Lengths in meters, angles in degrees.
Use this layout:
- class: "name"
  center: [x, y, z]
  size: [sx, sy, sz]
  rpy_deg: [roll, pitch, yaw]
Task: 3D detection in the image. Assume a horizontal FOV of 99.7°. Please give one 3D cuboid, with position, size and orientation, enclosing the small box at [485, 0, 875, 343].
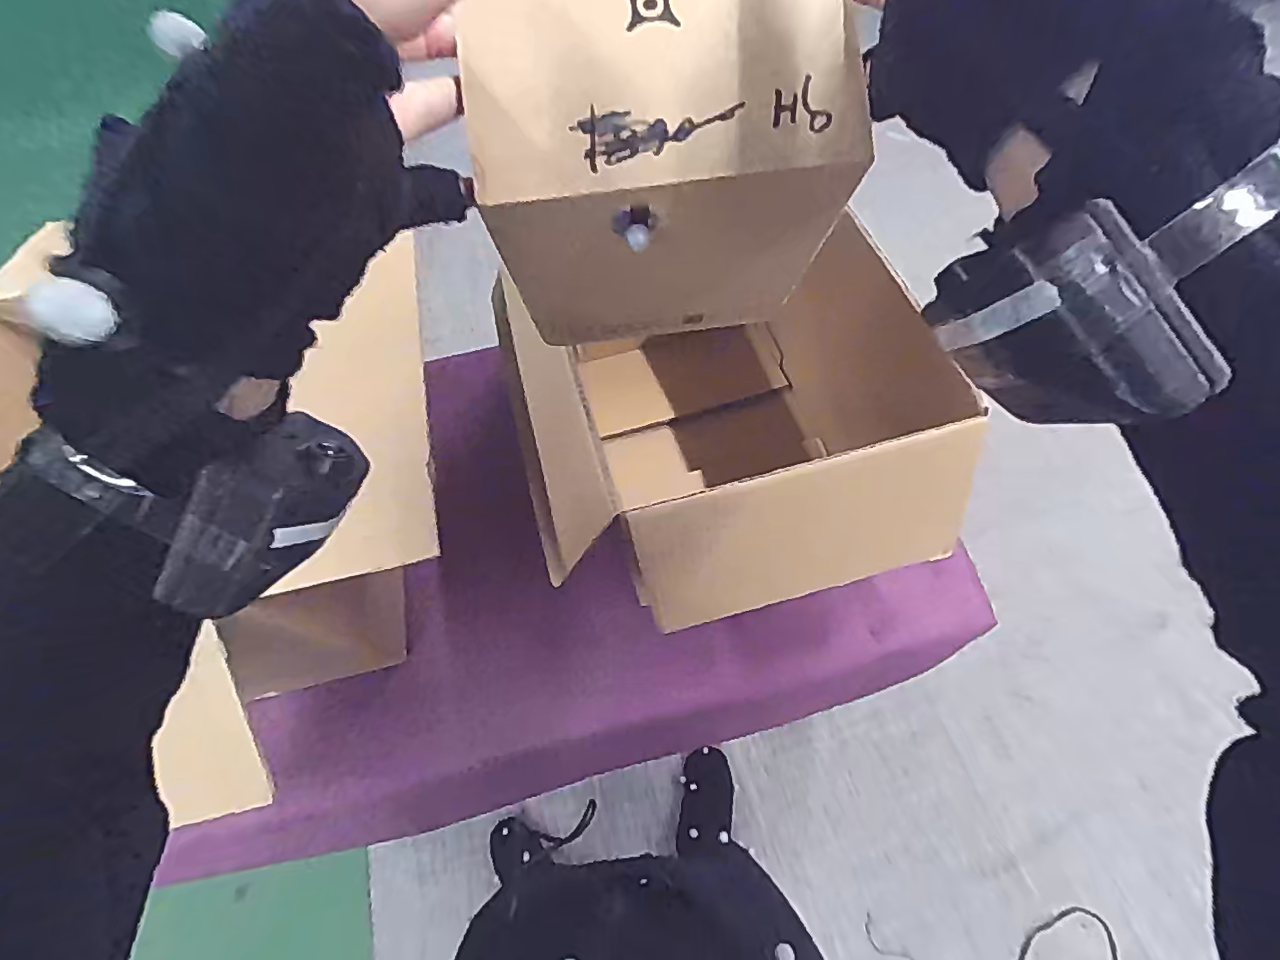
- class: "small box"
  center: [0.012, -0.202, 0.322]
  size: [0.168, 0.176, 0.179]
  rpy_deg: [-7, 84, 0]
